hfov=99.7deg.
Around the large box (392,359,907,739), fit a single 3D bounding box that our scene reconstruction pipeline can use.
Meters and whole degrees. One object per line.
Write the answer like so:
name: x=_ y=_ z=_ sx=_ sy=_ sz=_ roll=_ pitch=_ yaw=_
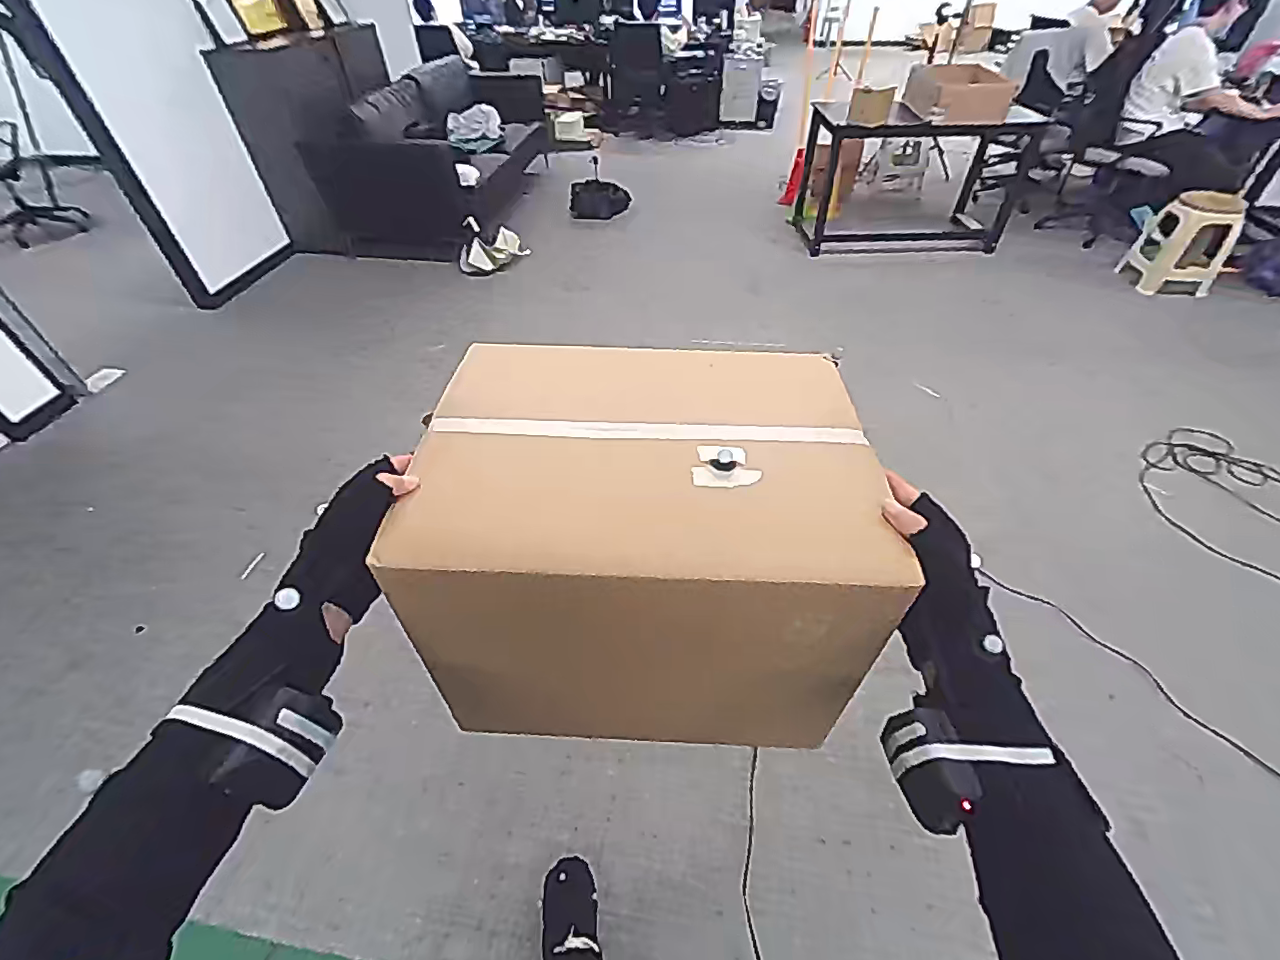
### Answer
large box: x=0.005 y=0.078 z=0.618 sx=0.408 sy=0.320 sz=0.320 roll=2 pitch=44 yaw=0
